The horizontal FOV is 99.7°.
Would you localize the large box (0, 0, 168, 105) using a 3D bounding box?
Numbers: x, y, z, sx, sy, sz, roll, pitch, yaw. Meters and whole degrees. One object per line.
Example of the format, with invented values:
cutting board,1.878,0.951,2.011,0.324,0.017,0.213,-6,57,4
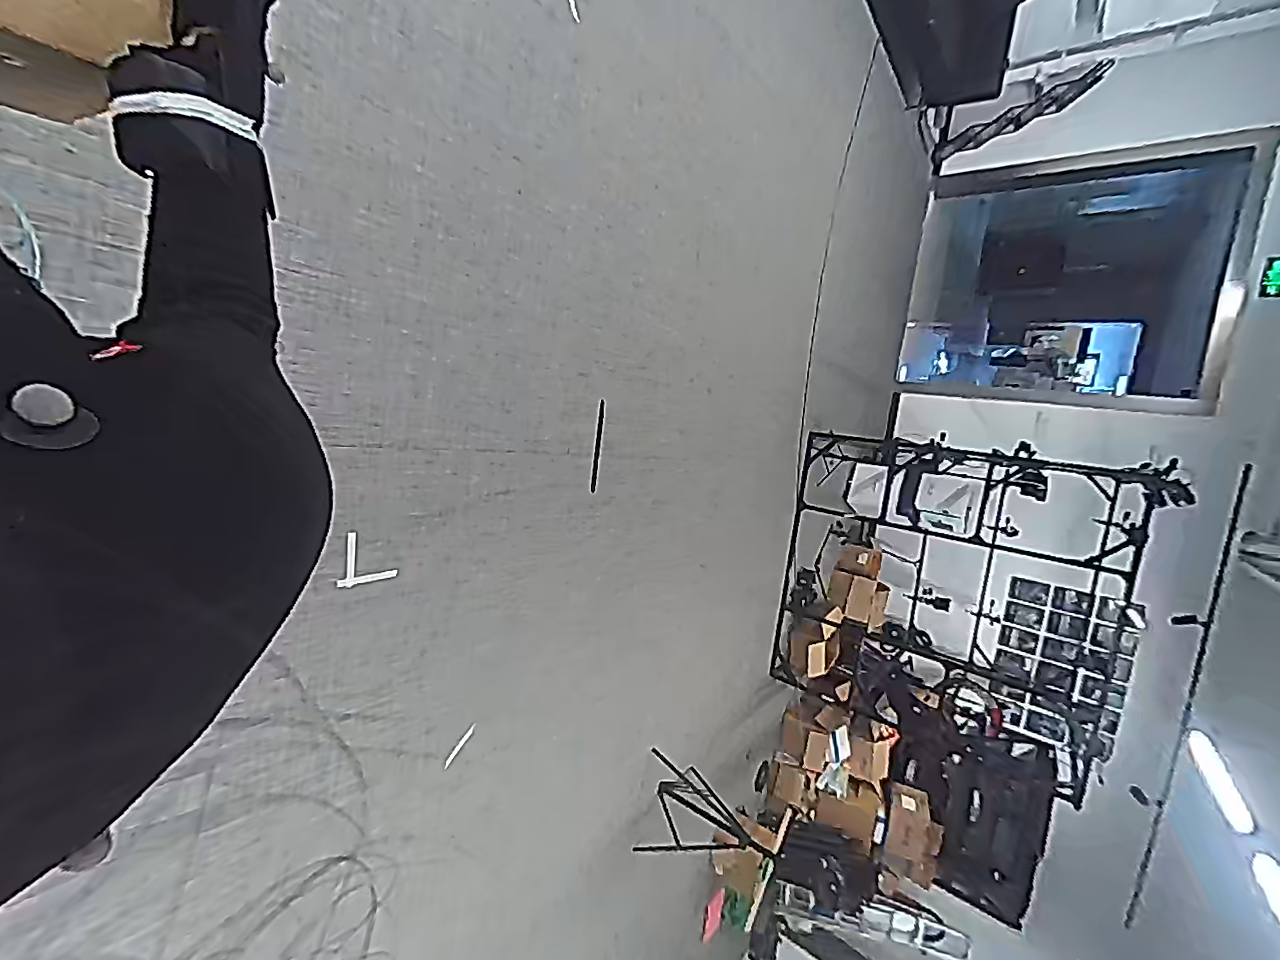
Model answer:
large box,-0.538,-0.452,0.261,0.408,0.320,0.320,-8,114,-56
